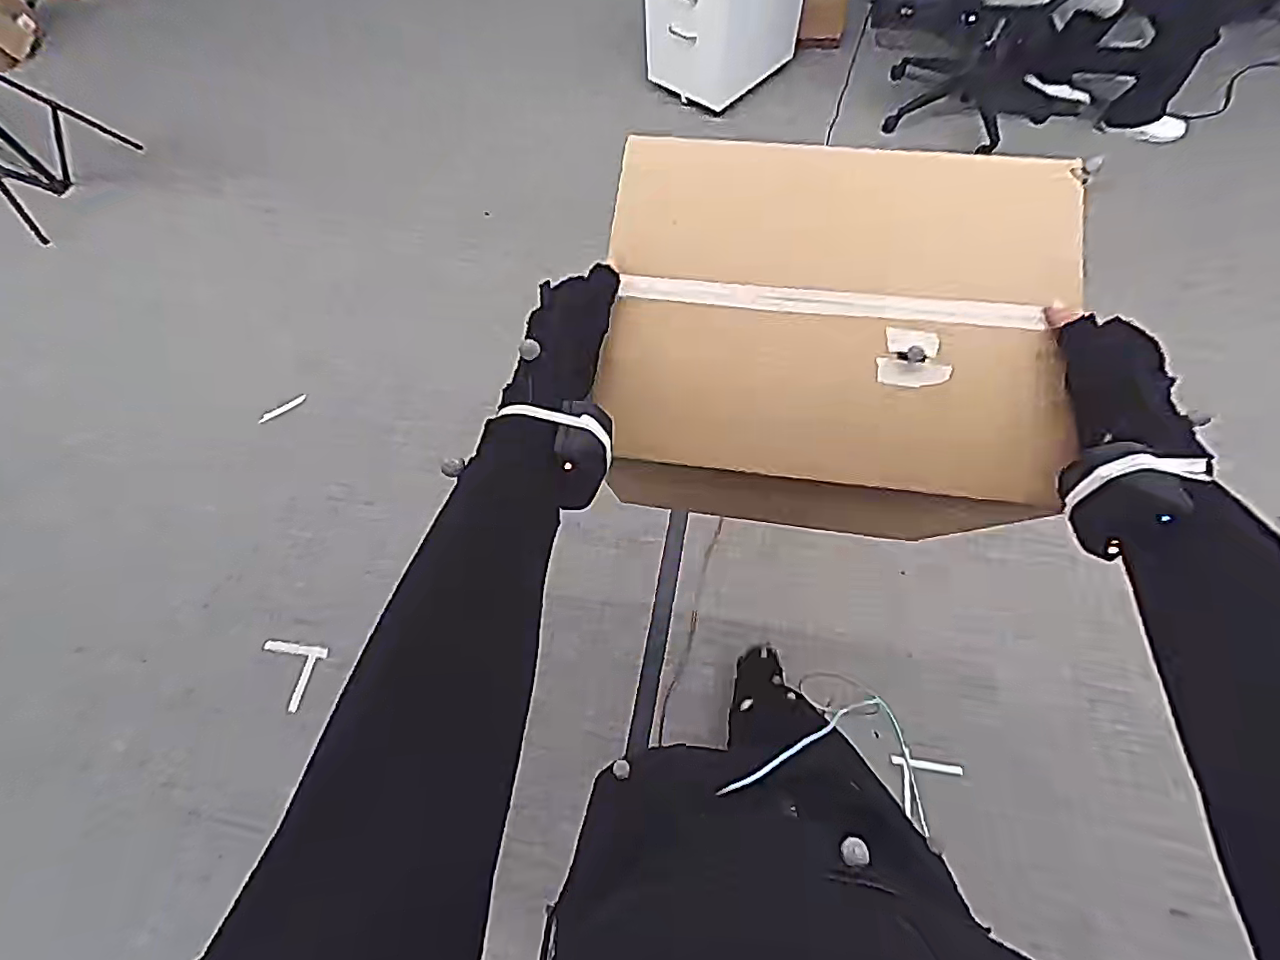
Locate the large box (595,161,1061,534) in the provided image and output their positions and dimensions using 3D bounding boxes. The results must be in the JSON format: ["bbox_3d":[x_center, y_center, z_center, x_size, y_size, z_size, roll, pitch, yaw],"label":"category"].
[{"bbox_3d":[0.179,-0.120,0.638,0.408,0.320,0.320,7,81,5],"label":"large box"}]
